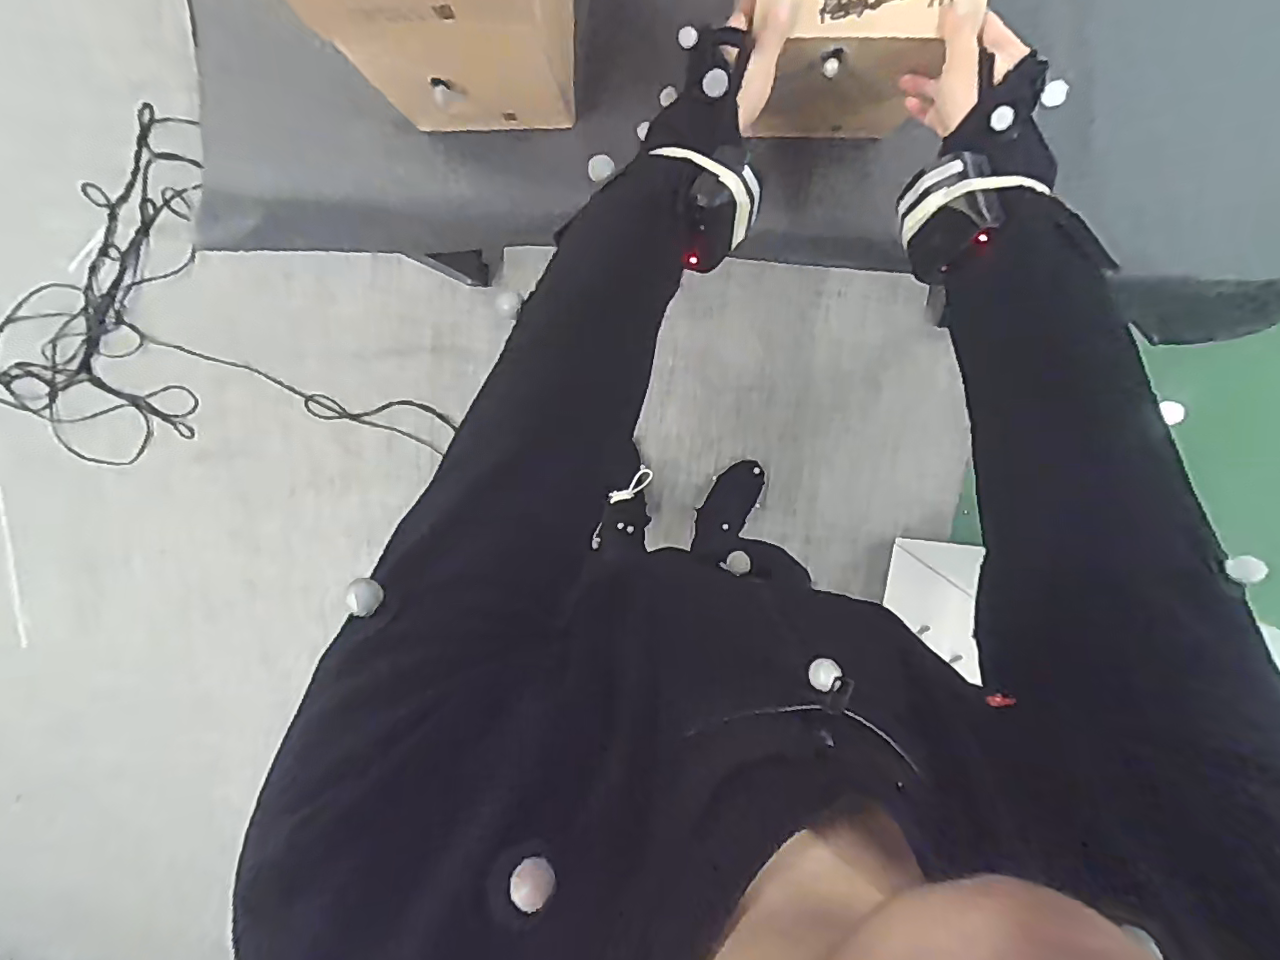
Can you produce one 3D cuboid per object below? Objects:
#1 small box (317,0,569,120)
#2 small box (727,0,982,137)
[{"bbox_3d":[-0.155,-0.439,0.465,0.168,0.176,0.179,1,100,2],"label":"small box"},{"bbox_3d":[0.169,-0.424,0.457,0.168,0.176,0.179,2,102,1],"label":"small box"}]
